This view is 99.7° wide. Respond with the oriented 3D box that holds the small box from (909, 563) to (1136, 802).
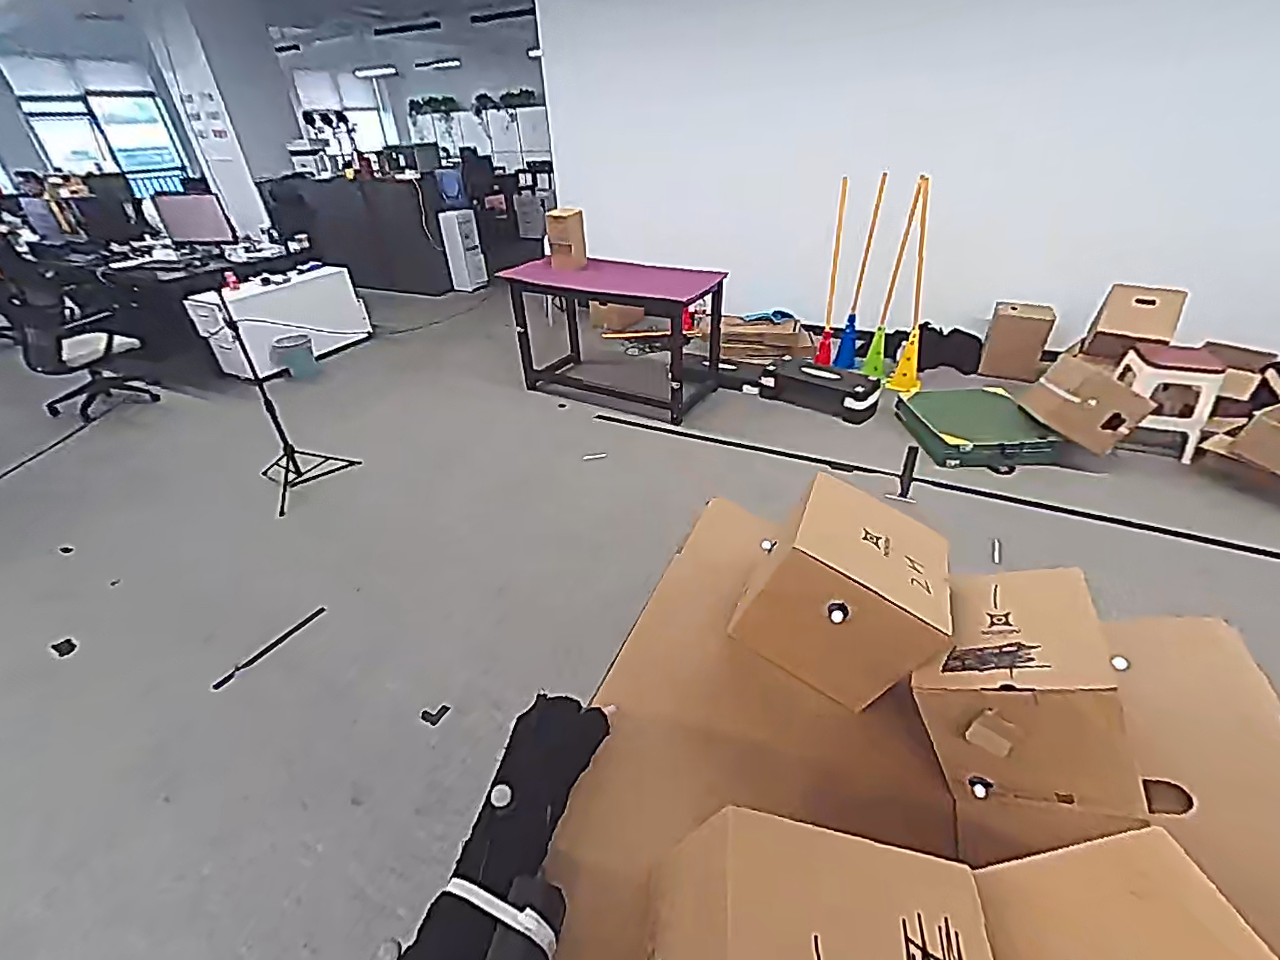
[{"bbox_3d":[0.415,0.219,0.602,0.168,0.176,0.179,-14,21,35],"label":"small box"}]
